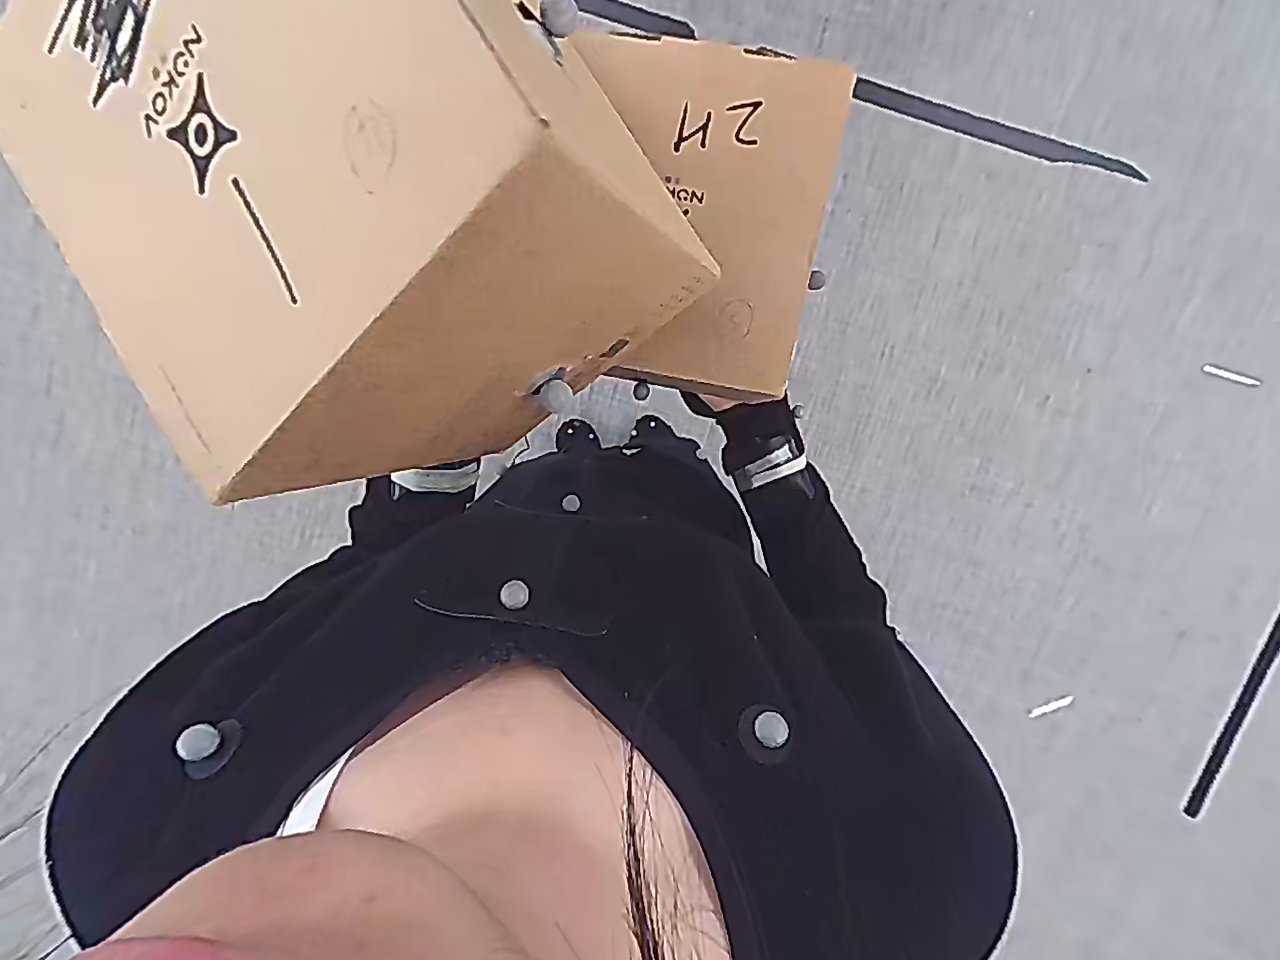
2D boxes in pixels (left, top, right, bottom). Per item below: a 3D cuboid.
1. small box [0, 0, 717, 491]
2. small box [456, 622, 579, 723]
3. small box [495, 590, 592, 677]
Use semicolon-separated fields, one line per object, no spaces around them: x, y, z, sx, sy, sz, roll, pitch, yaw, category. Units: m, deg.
-0.092;-0.119;0.230;0.168;0.176;0.179;-34;86;24;small box
-0.198;0.344;0.829;0.168;0.176;0.179;18;99;-2;small box
-0.194;0.325;0.991;0.168;0.176;0.179;21;97;-2;small box
